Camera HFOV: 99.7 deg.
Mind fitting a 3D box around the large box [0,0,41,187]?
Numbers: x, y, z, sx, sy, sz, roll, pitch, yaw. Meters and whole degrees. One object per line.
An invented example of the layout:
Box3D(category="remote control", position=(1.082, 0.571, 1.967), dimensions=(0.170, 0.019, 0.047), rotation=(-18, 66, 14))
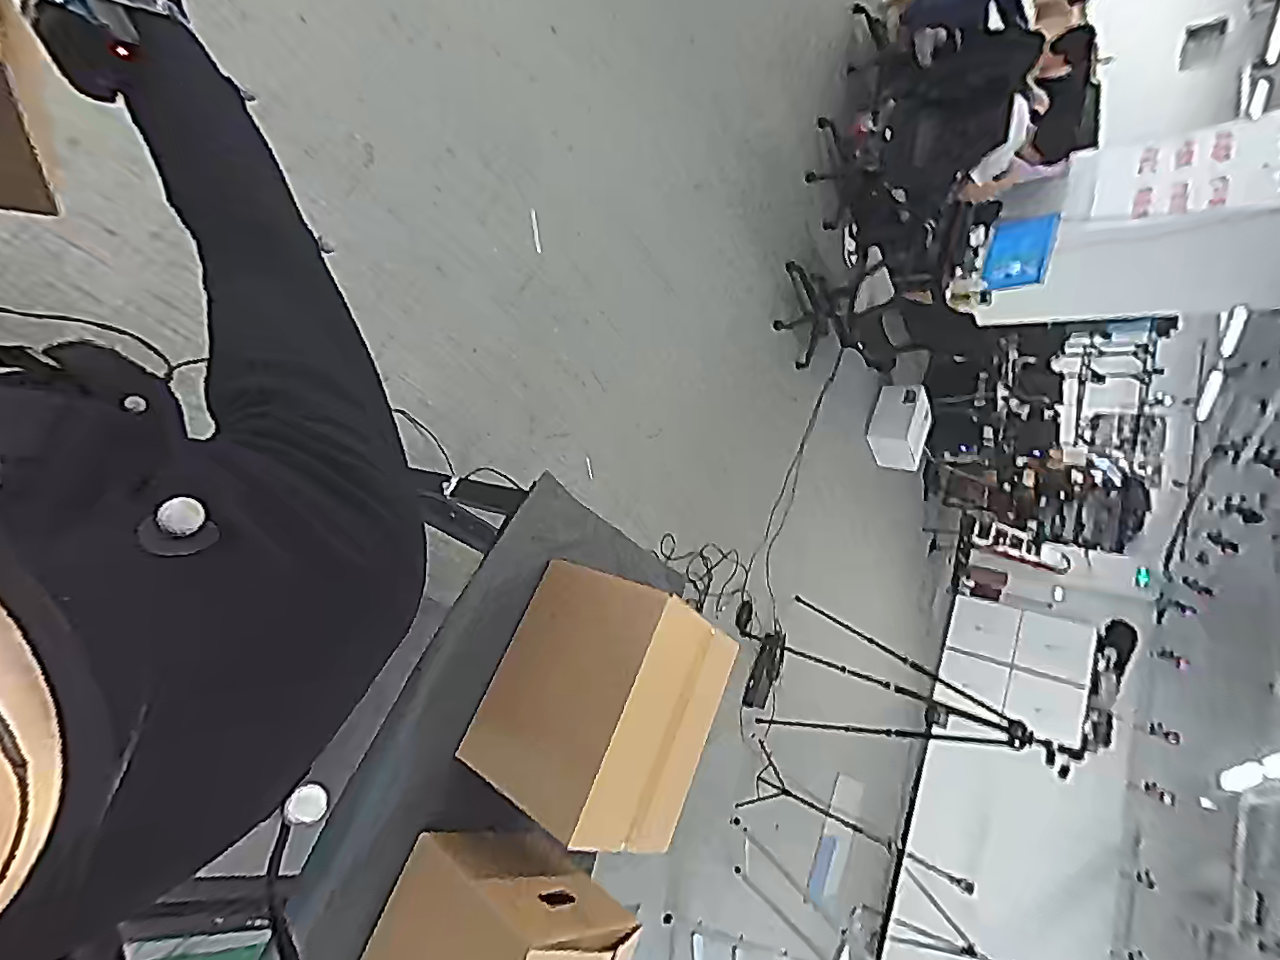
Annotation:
Box3D(category="large box", position=(-0.708, -0.437, 0.336), dimensions=(0.408, 0.320, 0.320), rotation=(-9, 99, -43))
